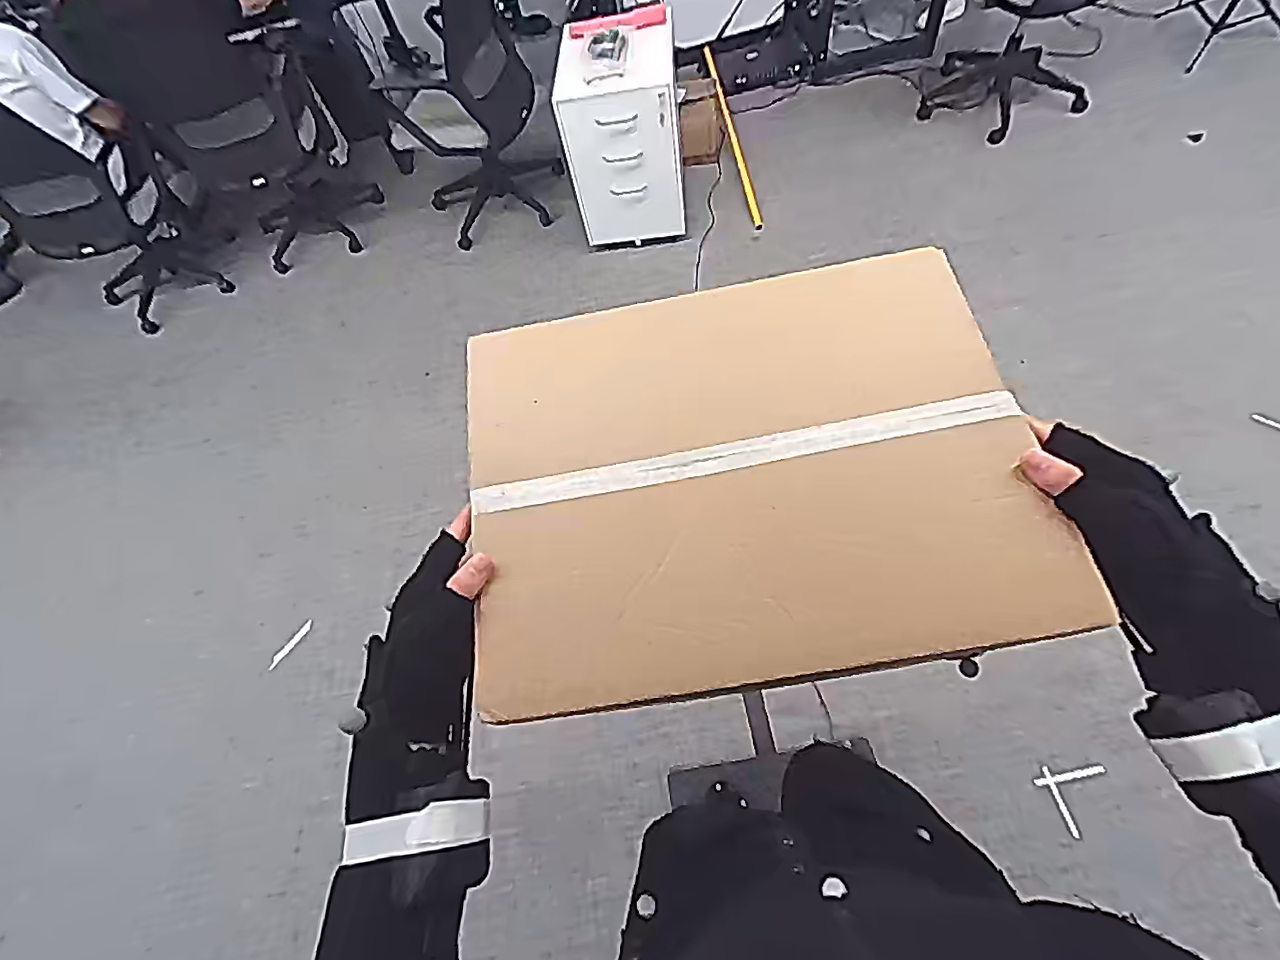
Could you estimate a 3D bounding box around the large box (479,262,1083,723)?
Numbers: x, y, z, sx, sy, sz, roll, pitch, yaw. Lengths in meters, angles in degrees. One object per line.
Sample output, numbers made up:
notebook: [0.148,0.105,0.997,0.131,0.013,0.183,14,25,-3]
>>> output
large box: [0.092,0.043,0.553,0.408,0.320,0.320,-11,67,4]

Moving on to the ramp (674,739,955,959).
ramp: [0.379,1.049,0.992,0.509,0.206,0.991,-14,60,3]
